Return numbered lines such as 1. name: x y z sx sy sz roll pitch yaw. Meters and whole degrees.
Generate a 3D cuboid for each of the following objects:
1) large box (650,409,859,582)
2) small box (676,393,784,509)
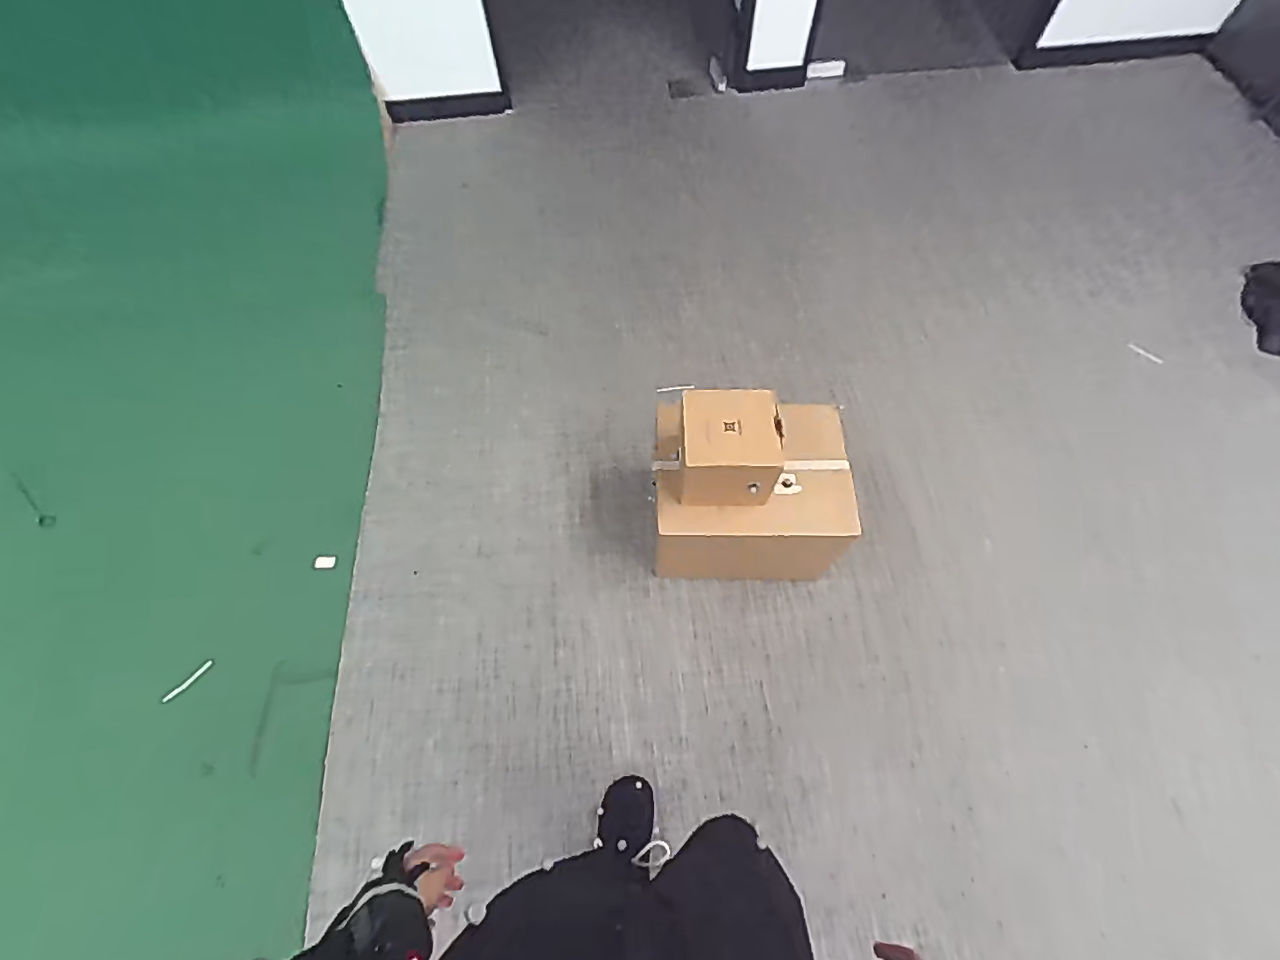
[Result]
1. large box: 0.232 0.046 1.265 0.408 0.320 0.320 0 64 -1
2. small box: 0.163 -0.051 1.042 0.179 0.176 0.168 -2 62 1
